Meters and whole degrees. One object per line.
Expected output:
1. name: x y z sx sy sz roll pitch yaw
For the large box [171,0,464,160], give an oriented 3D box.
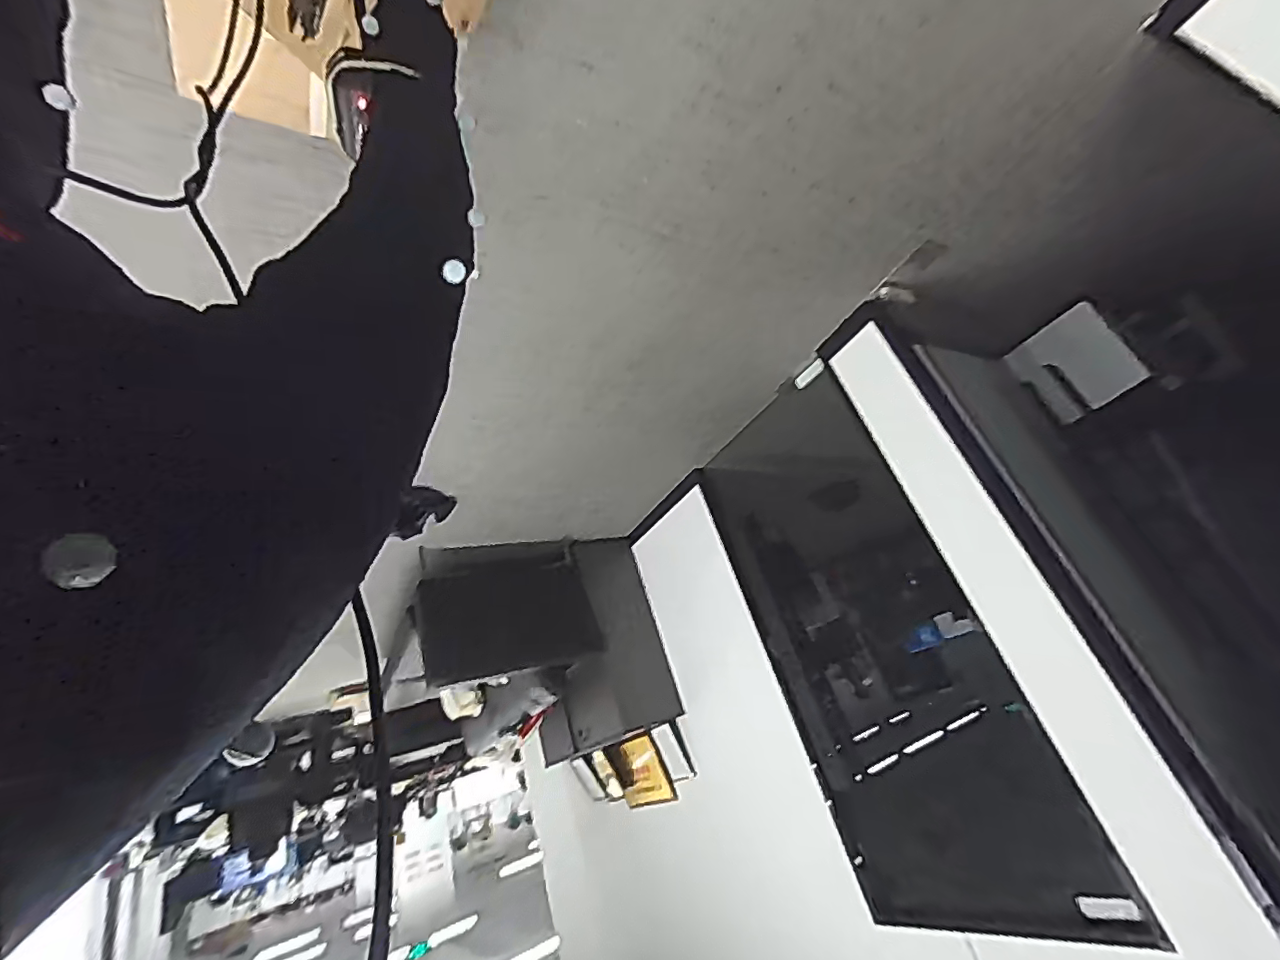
1. large box: -0.416 -0.738 0.702 0.320 0.320 0.408 -1 151 -33
